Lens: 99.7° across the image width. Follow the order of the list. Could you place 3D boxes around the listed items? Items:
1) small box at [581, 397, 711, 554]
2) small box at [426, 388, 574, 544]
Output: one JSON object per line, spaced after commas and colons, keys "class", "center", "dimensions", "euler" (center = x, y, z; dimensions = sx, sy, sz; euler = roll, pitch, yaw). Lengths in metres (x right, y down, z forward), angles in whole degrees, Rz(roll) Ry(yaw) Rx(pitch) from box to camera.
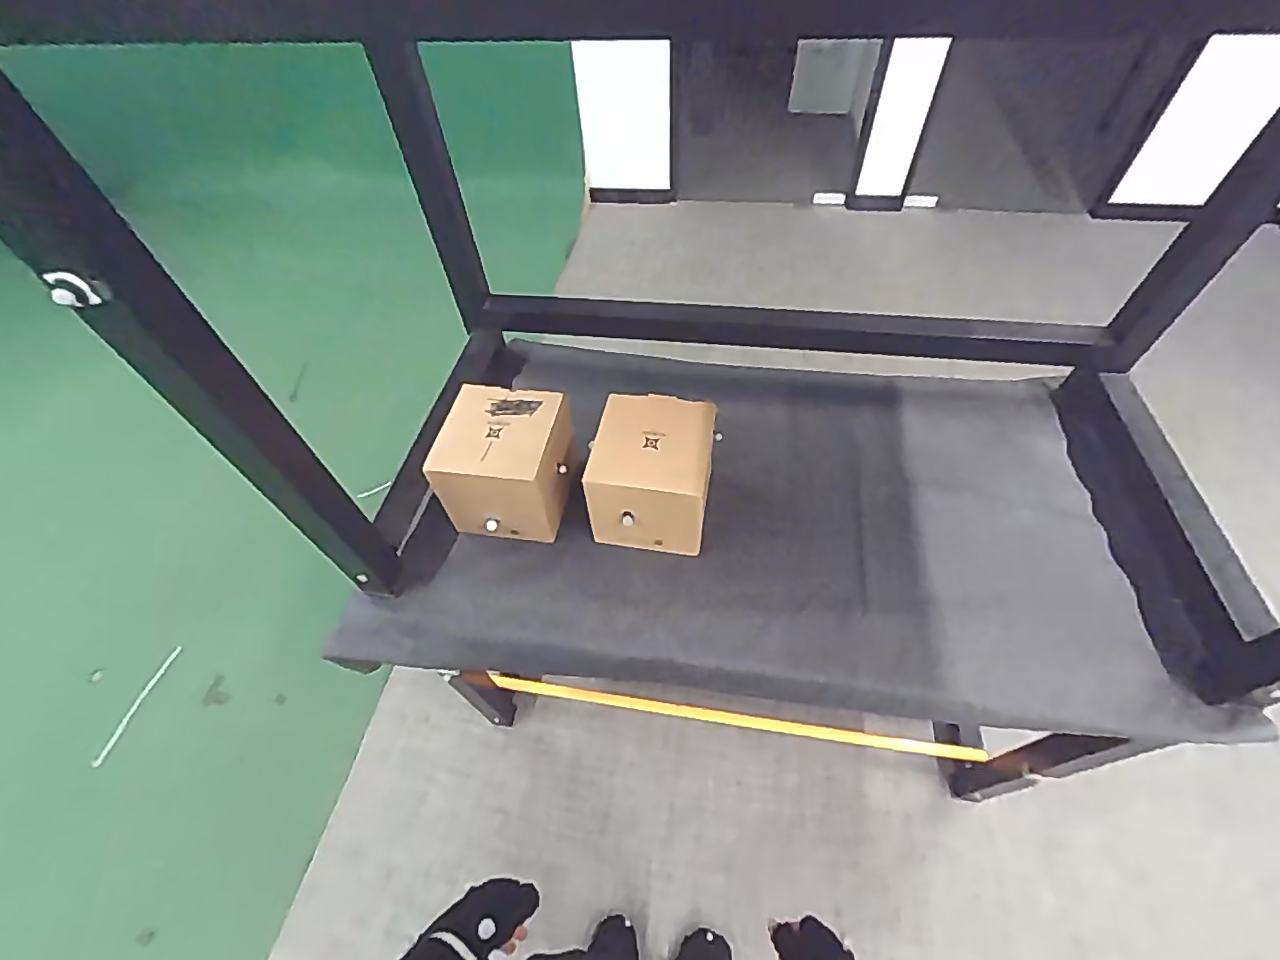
{"class": "small box", "center": [0.017, -0.003, 0.843], "dimensions": [0.168, 0.176, 0.179], "euler": [7, 53, 8]}
{"class": "small box", "center": [-0.208, -0.022, 0.865], "dimensions": [0.168, 0.176, 0.179], "euler": [6, 53, 7]}
